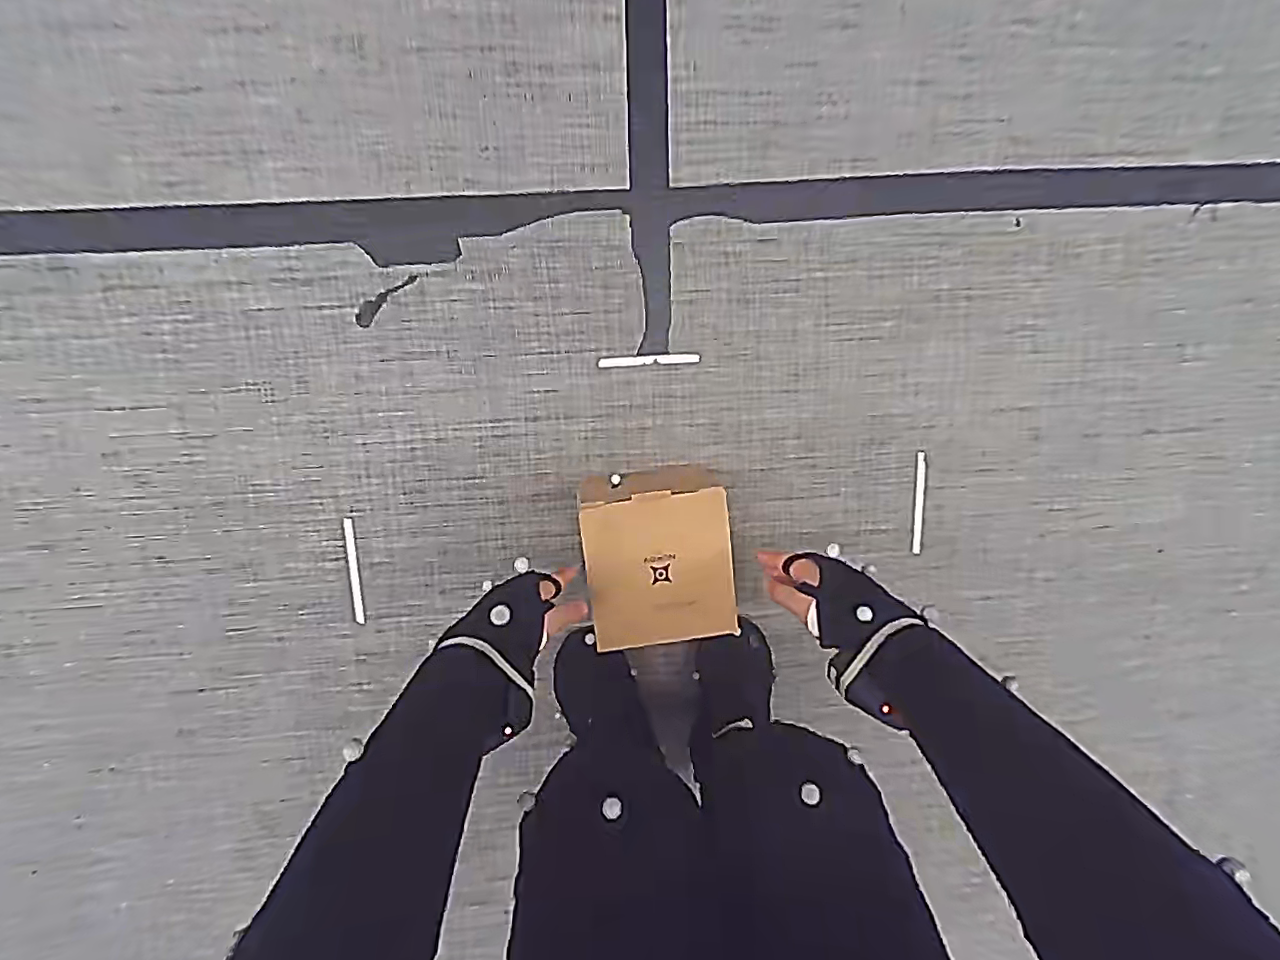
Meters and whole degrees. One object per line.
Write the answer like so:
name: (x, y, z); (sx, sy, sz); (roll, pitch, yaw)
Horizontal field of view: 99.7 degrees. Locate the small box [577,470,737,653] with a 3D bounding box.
small box: (0.015, 0.087, 0.675); (0.168, 0.176, 0.179); (-8, 102, -2)
